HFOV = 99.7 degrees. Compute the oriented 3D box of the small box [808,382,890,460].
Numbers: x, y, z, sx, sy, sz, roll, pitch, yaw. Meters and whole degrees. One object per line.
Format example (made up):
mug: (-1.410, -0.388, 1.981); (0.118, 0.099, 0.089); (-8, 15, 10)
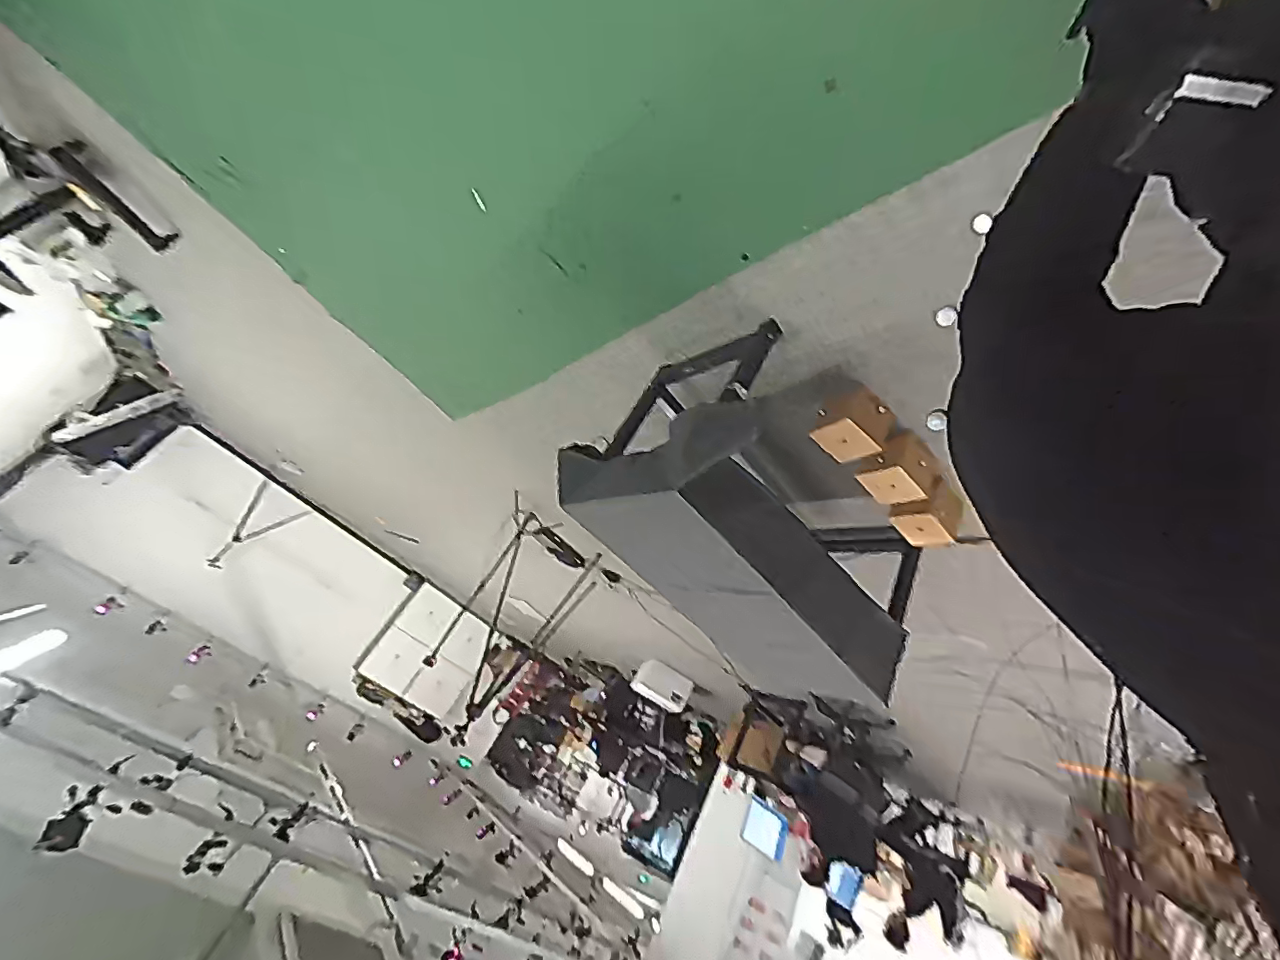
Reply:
small box: (0.705, -0.198, 1.819); (0.168, 0.176, 0.179); (38, 153, -15)
